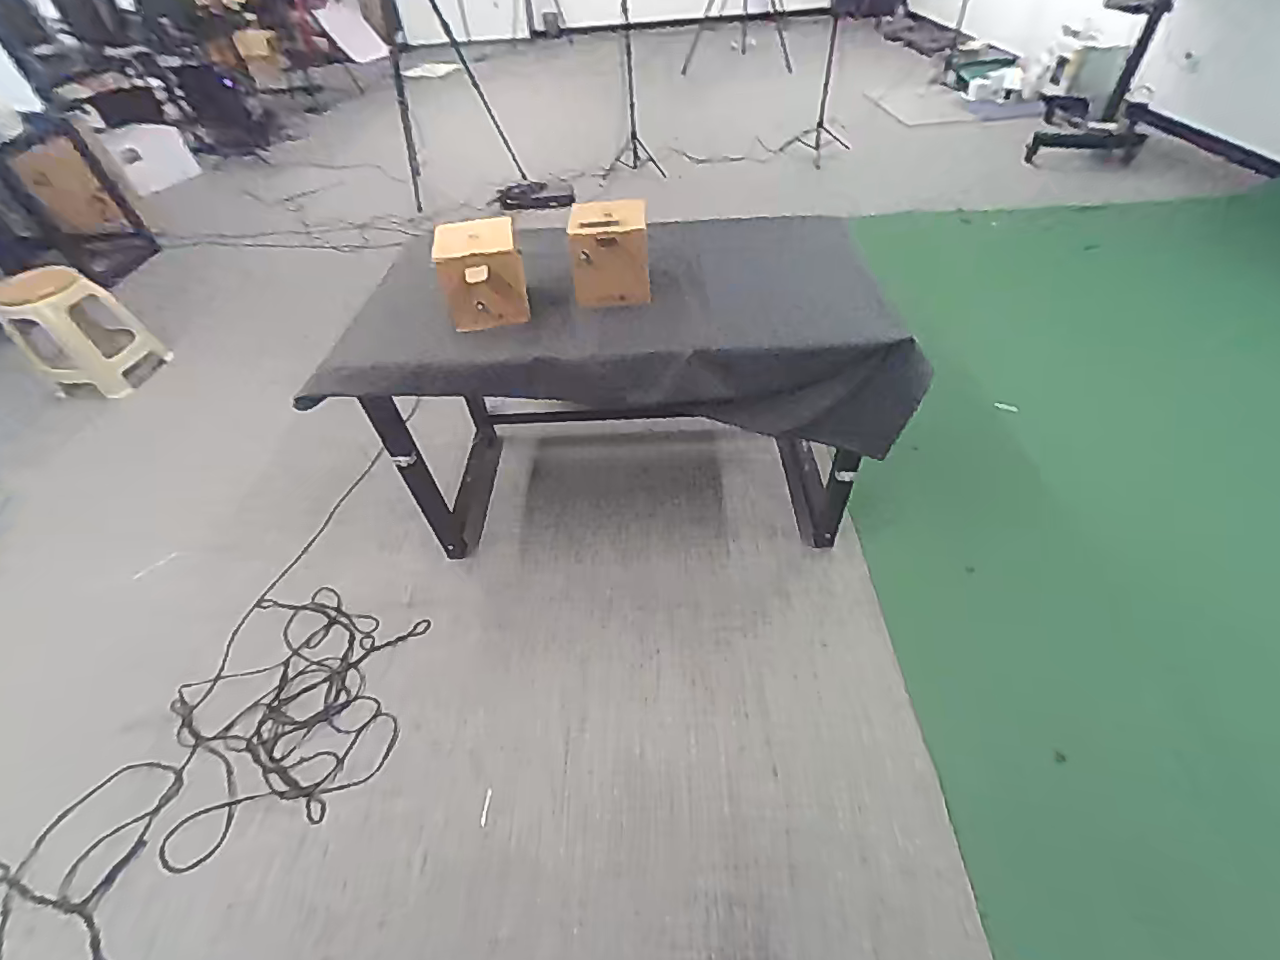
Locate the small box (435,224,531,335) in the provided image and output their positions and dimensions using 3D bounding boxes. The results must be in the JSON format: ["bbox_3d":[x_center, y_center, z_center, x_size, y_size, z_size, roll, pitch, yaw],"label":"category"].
[{"bbox_3d":[-0.341,-0.446,1.201,0.168,0.176,0.179,-10,47,-6],"label":"small box"}]
